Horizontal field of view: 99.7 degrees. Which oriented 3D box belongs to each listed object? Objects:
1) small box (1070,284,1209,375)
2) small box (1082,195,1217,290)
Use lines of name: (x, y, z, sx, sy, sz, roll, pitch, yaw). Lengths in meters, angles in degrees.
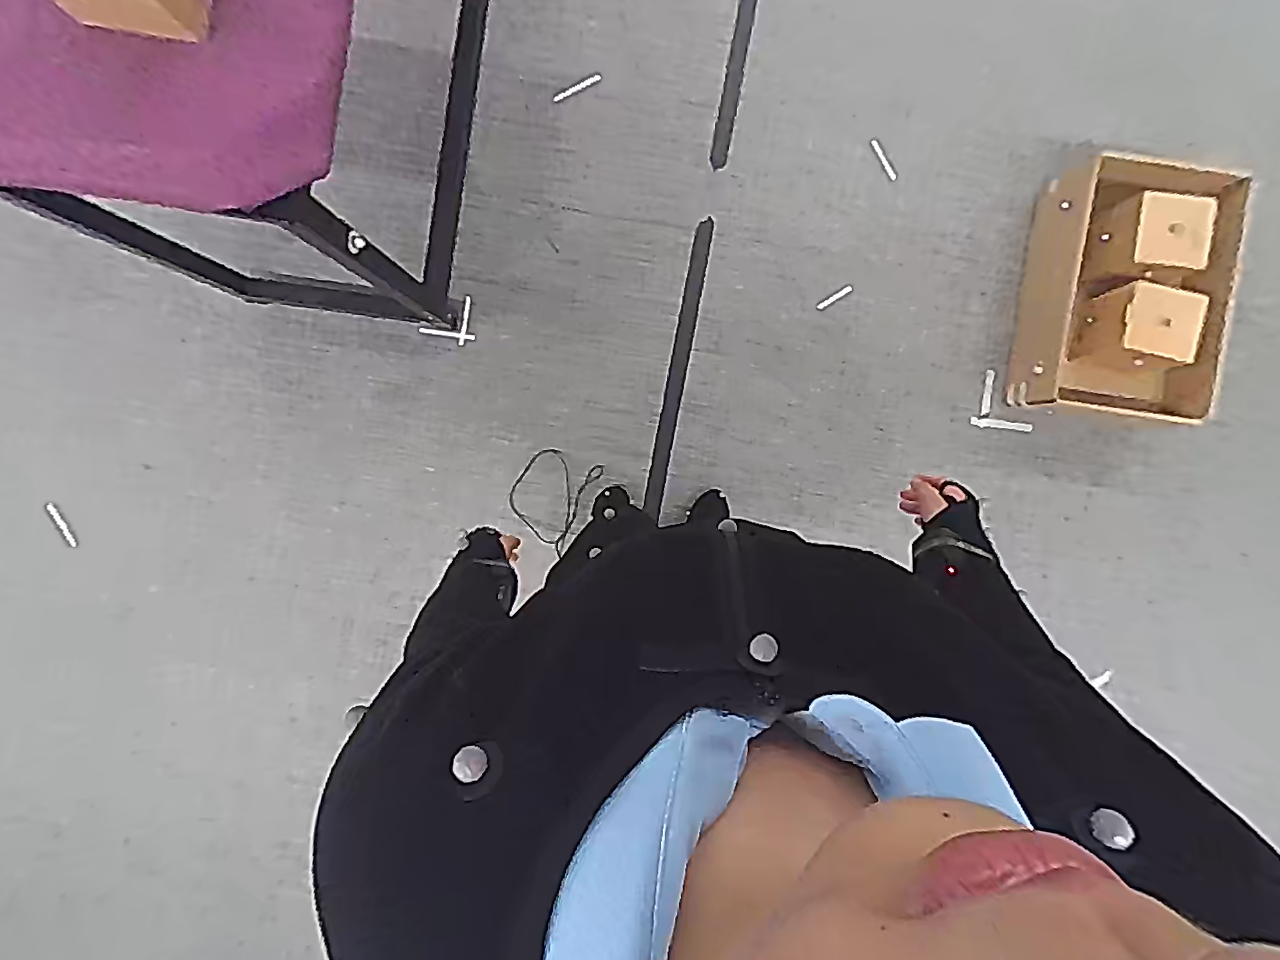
small box: (1.256, -0.373, 1.371, 0.179, 0.176, 0.168, 14, 91, 0)
small box: (1.270, -0.590, 1.362, 0.179, 0.176, 0.168, 7, 94, 0)
